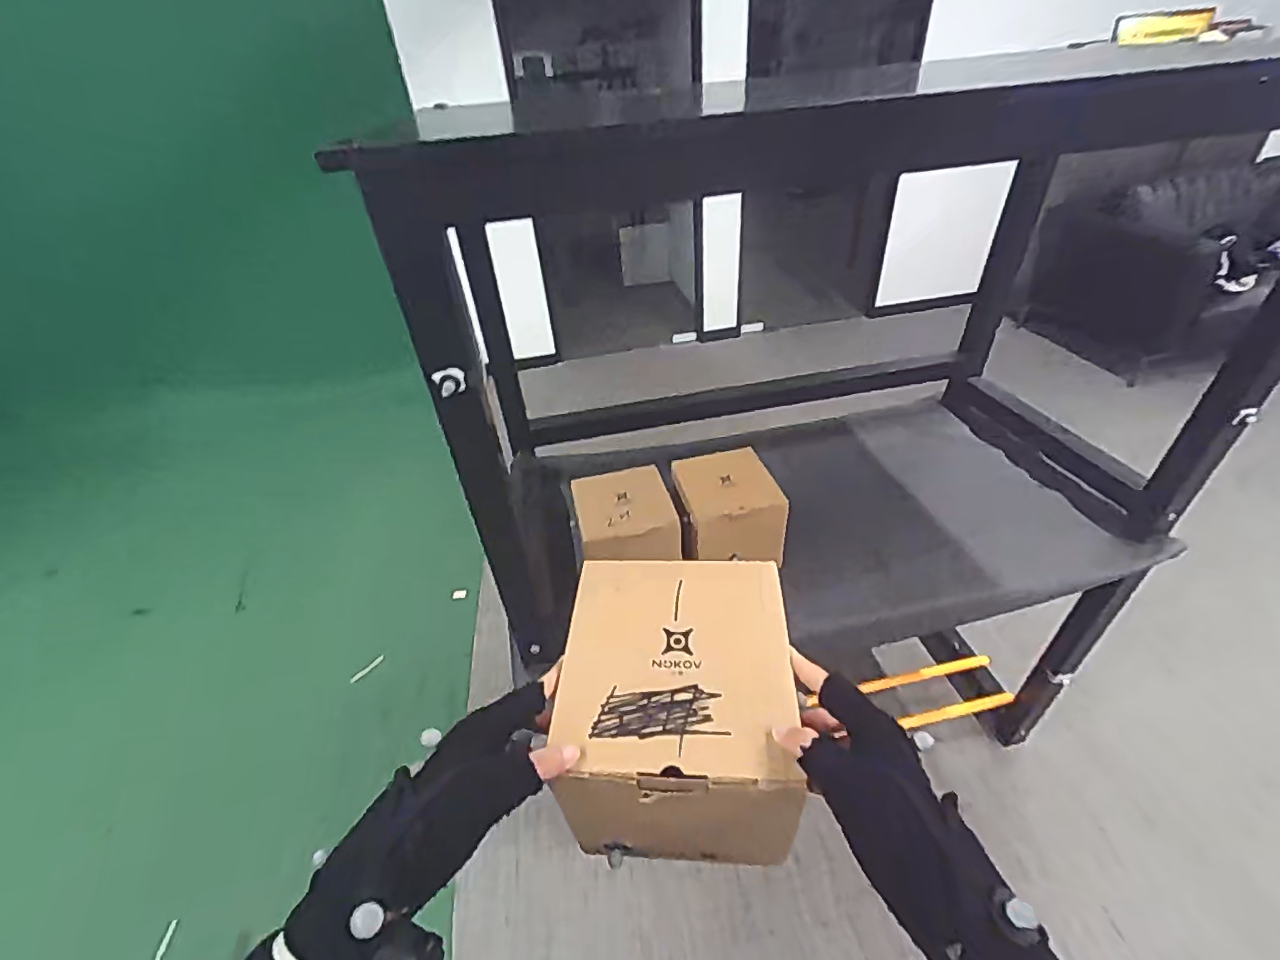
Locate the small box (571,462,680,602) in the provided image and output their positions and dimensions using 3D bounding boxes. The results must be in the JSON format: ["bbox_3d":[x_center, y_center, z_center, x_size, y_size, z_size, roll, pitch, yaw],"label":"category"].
[{"bbox_3d":[-0.028,0.094,0.999,0.168,0.176,0.179,-12,38,-8],"label":"small box"}]
